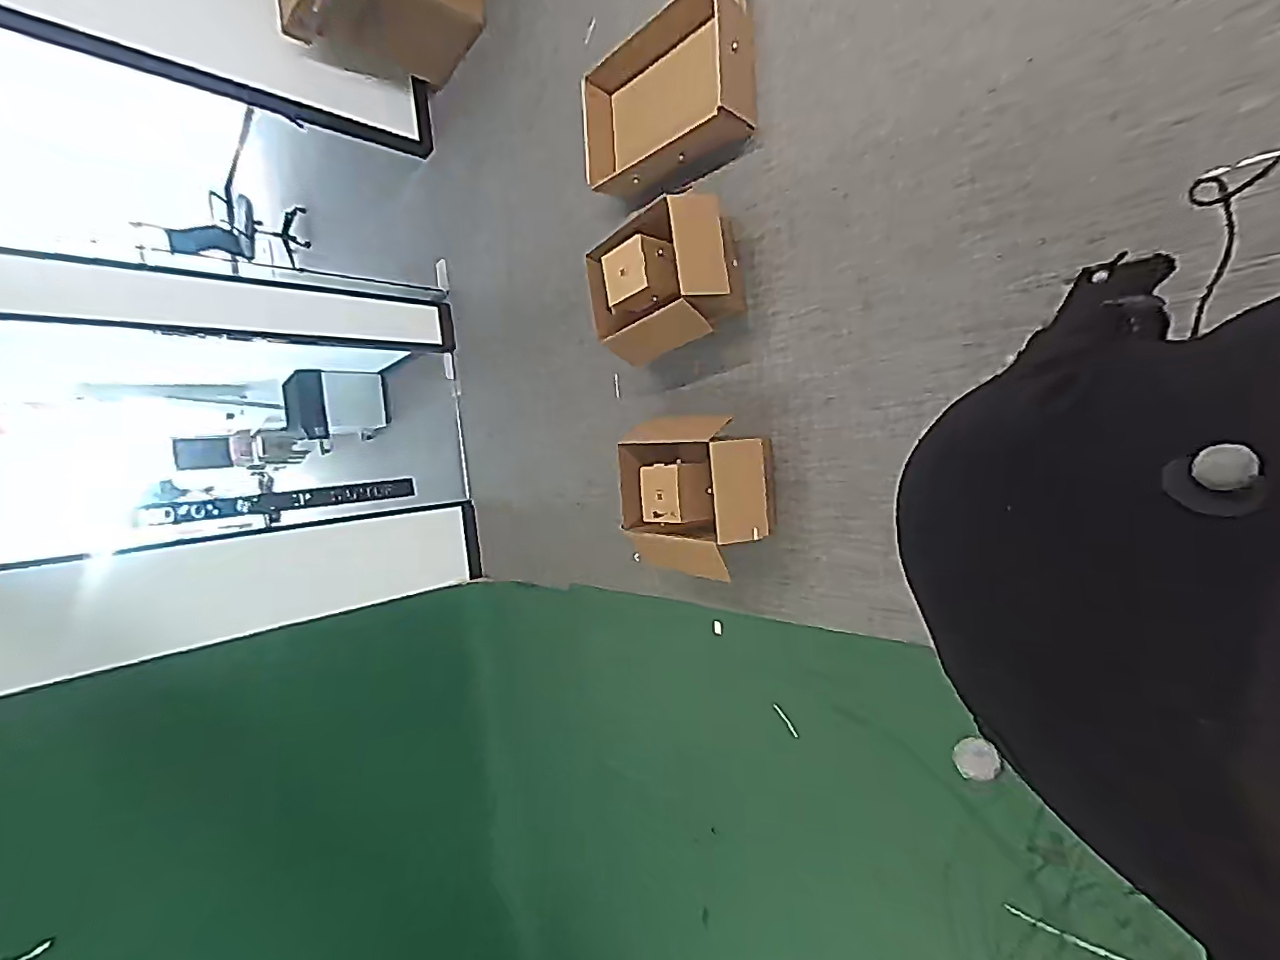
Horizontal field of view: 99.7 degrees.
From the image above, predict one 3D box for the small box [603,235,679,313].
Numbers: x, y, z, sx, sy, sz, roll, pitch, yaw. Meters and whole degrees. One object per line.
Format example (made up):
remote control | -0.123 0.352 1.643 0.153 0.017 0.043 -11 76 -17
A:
small box | 0.010 -0.646 1.713 0.179 0.176 0.168 -11 86 45
